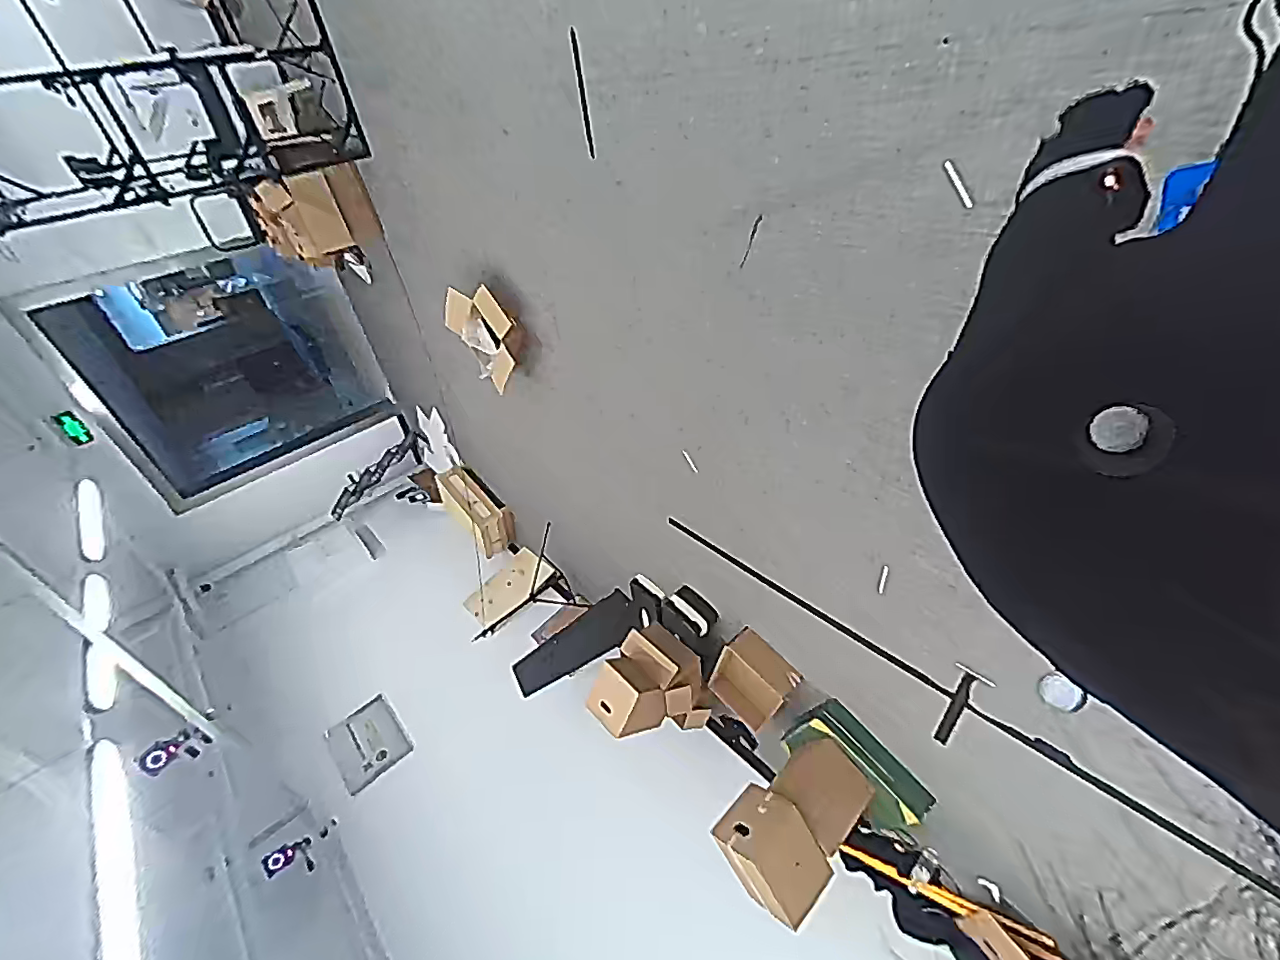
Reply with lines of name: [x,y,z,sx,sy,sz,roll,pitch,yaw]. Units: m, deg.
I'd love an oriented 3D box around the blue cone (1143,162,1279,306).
blue cone: [0.921,-0.374,0.891,0.193,0.380,0.192,14,130,49]
